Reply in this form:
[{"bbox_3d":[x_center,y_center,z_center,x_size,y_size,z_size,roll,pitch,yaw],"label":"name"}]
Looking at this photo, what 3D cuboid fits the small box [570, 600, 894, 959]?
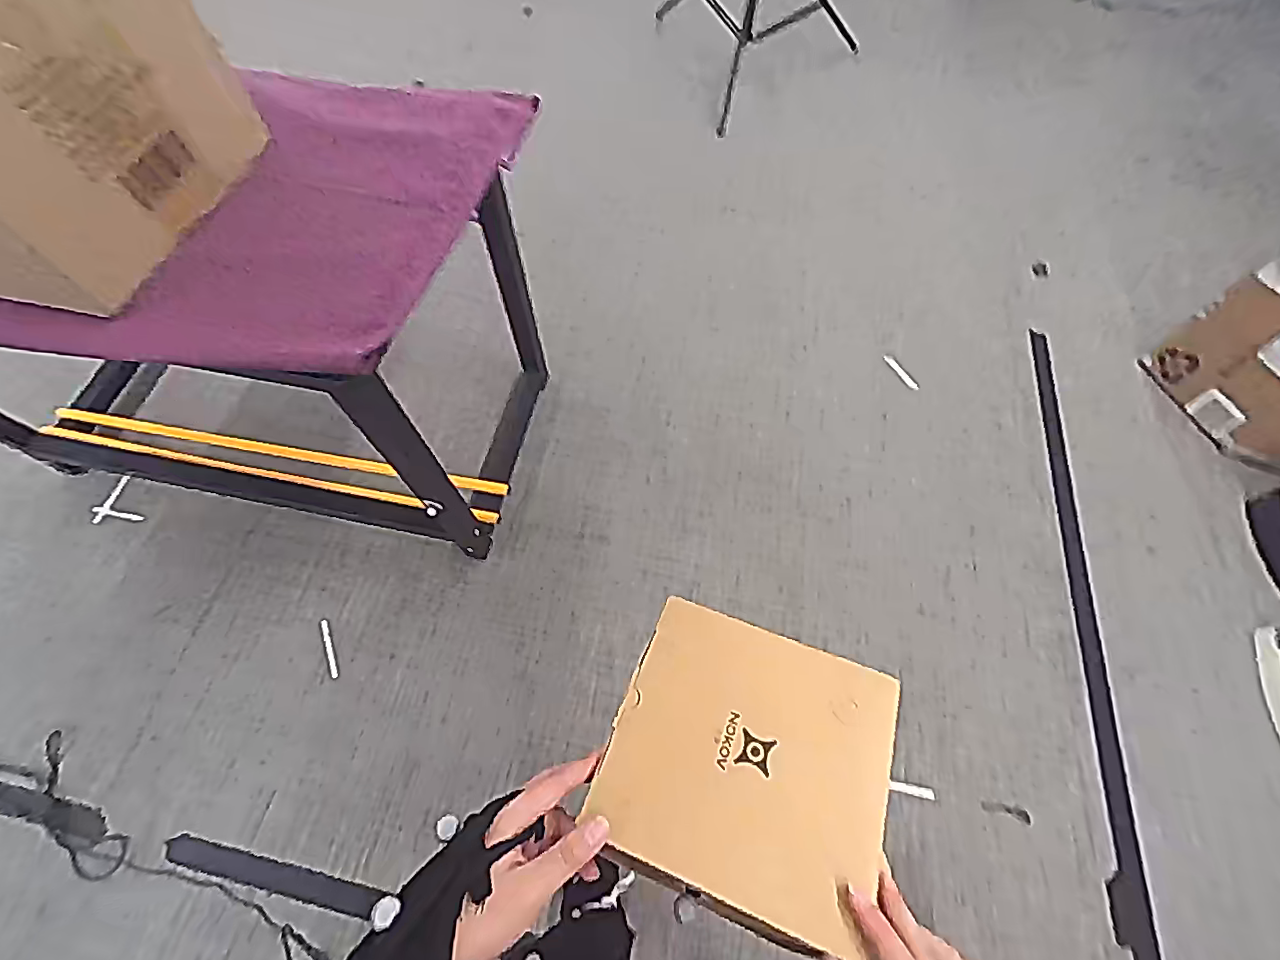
[{"bbox_3d":[0.067,0.223,0.413,0.179,0.176,0.168,17,54,14],"label":"small box"}]
